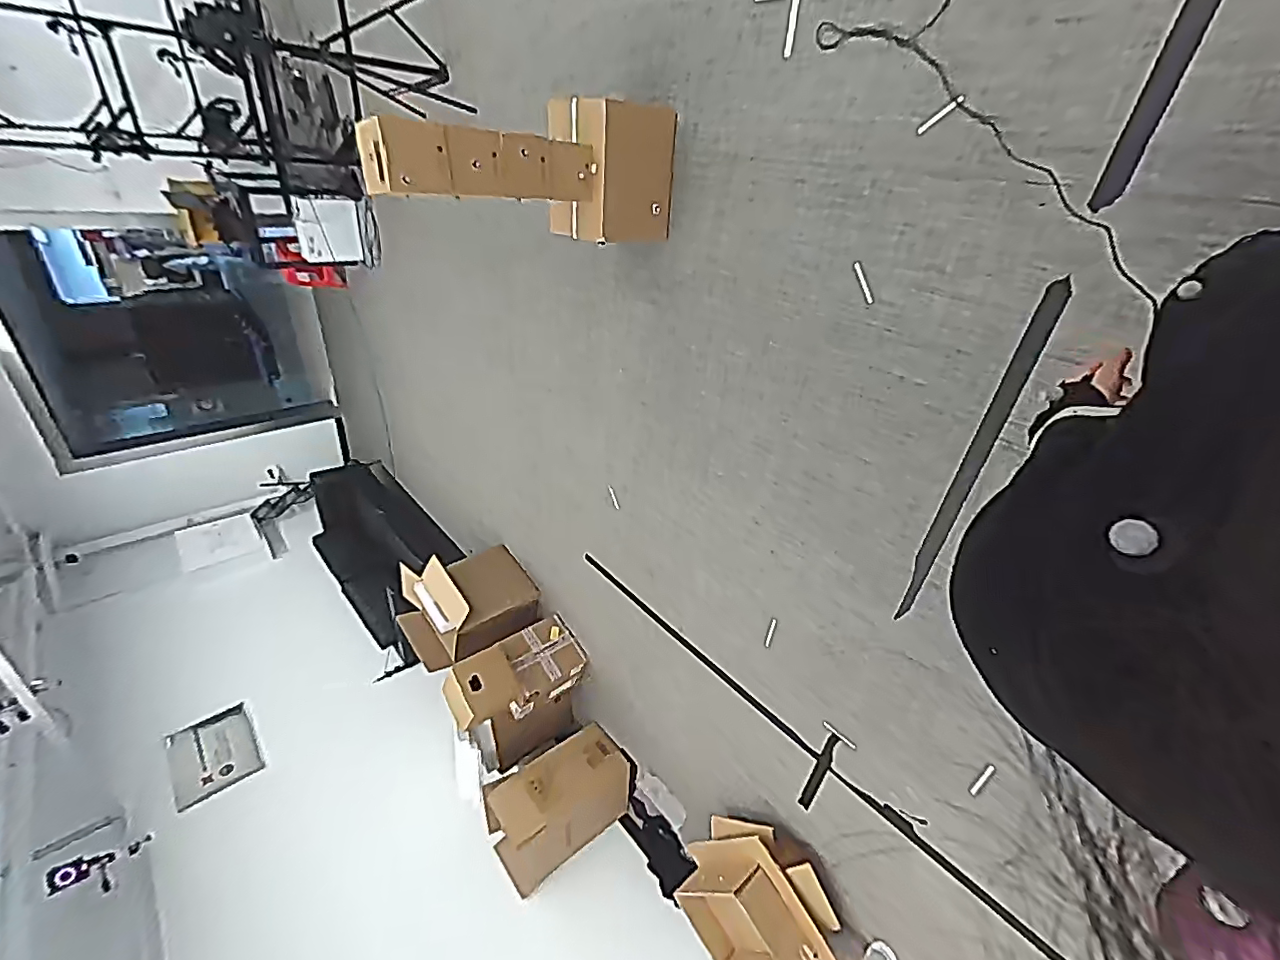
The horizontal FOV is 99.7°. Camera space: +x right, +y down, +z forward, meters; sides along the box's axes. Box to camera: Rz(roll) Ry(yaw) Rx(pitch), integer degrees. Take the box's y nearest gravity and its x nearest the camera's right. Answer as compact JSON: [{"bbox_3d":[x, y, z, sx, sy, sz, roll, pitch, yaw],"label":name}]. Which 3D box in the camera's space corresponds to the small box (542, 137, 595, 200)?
[{"bbox_3d":[-0.264,-1.001,1.740,0.179,0.176,0.168,30,129,38],"label":"small box"}]

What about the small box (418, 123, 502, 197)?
[{"bbox_3d":[-0.504,-0.904,1.540,0.179,0.176,0.168,25,124,42],"label":"small box"}]

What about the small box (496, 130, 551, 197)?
[{"bbox_3d":[-0.380,-0.955,1.636,0.179,0.176,0.168,30,128,40],"label":"small box"}]
